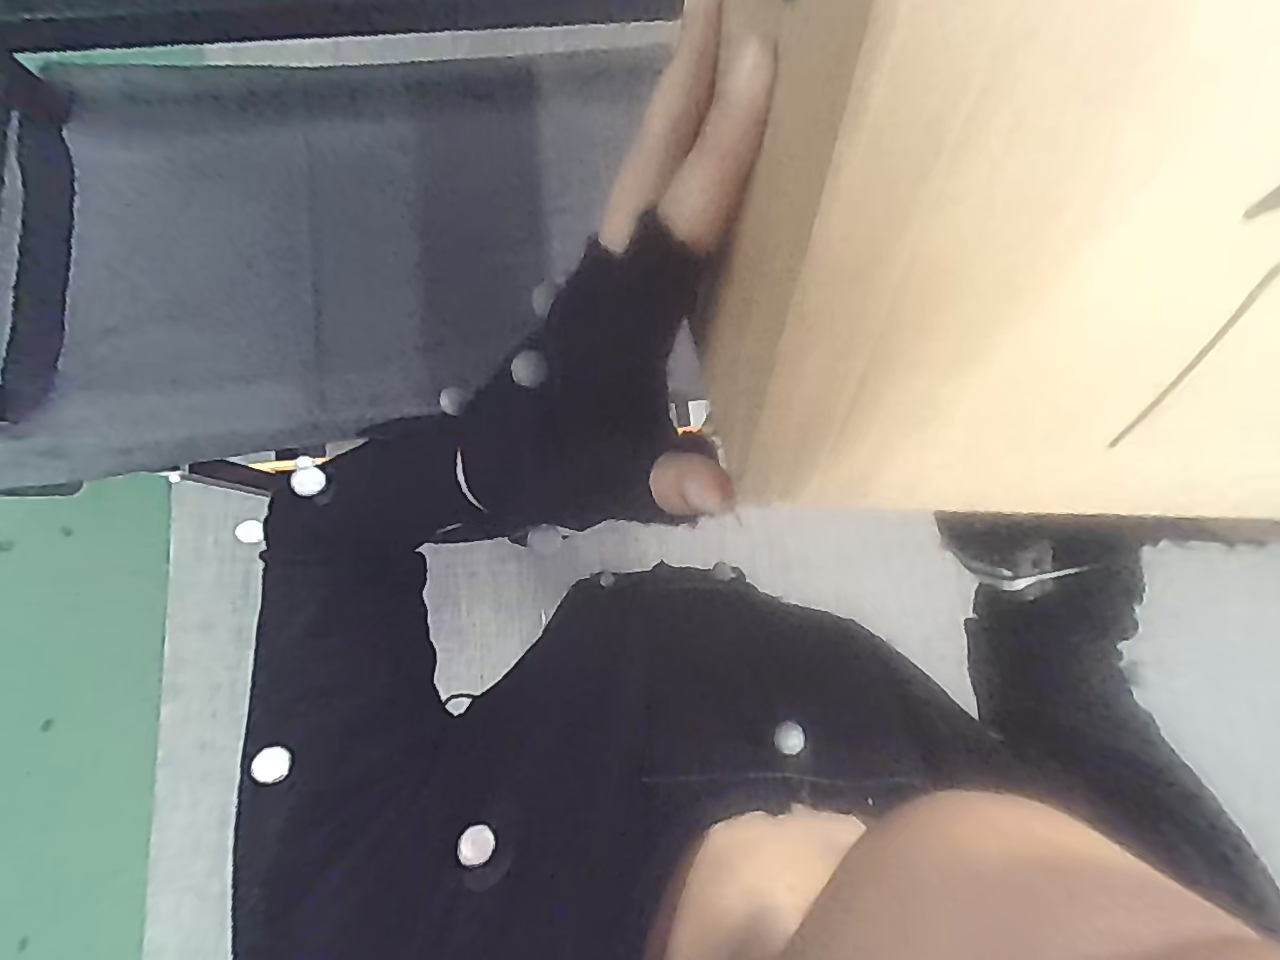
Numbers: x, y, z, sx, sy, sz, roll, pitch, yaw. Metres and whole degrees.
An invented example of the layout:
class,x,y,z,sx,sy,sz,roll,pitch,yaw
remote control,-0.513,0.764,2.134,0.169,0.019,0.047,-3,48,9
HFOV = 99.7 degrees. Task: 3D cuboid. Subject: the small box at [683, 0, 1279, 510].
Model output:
class,x,y,z,sx,sy,sz,roll,pitch,yaw
small box,0.107,-0.112,0.133,0.168,0.179,0.176,2,42,-5
